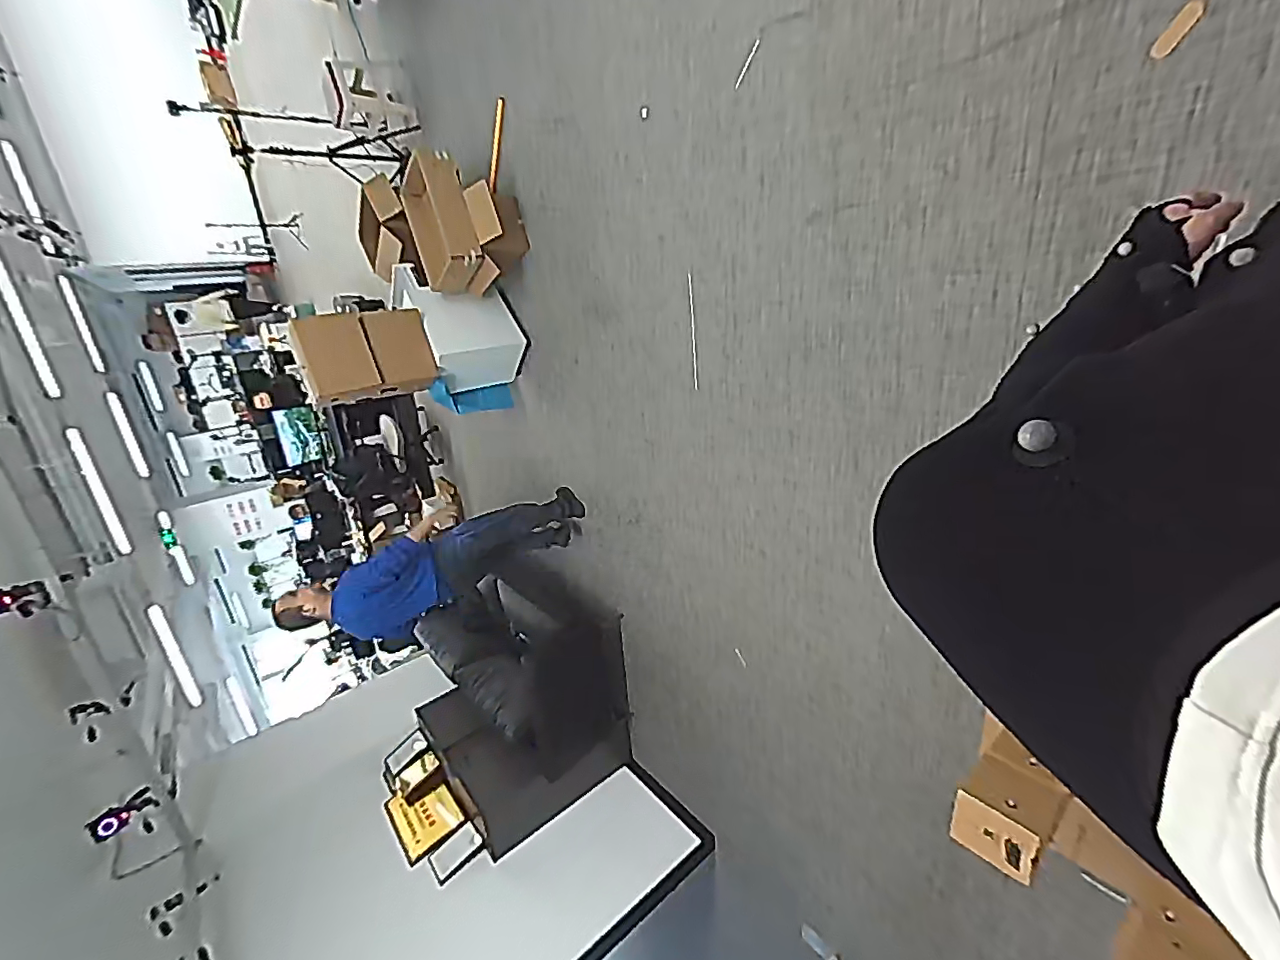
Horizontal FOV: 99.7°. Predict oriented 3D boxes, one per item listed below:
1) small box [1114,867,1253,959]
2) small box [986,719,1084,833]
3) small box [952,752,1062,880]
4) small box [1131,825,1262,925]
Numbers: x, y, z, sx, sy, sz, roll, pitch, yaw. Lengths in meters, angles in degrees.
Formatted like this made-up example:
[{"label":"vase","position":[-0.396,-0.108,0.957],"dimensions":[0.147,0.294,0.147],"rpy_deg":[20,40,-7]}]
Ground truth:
[{"label":"small box","position":[1.267,1.055,1.263],"dimensions":[0.179,0.176,0.168],"rpy_deg":[28,128,43]},{"label":"small box","position":[1.039,0.773,1.439],"dimensions":[0.179,0.176,0.168],"rpy_deg":[18,119,46]},{"label":"small box","position":[0.913,0.823,1.345],"dimensions":[0.179,0.176,0.168],"rpy_deg":[19,120,47]},{"label":"small box","position":[1.396,1.015,1.359],"dimensions":[0.179,0.176,0.168],"rpy_deg":[29,128,43]}]
